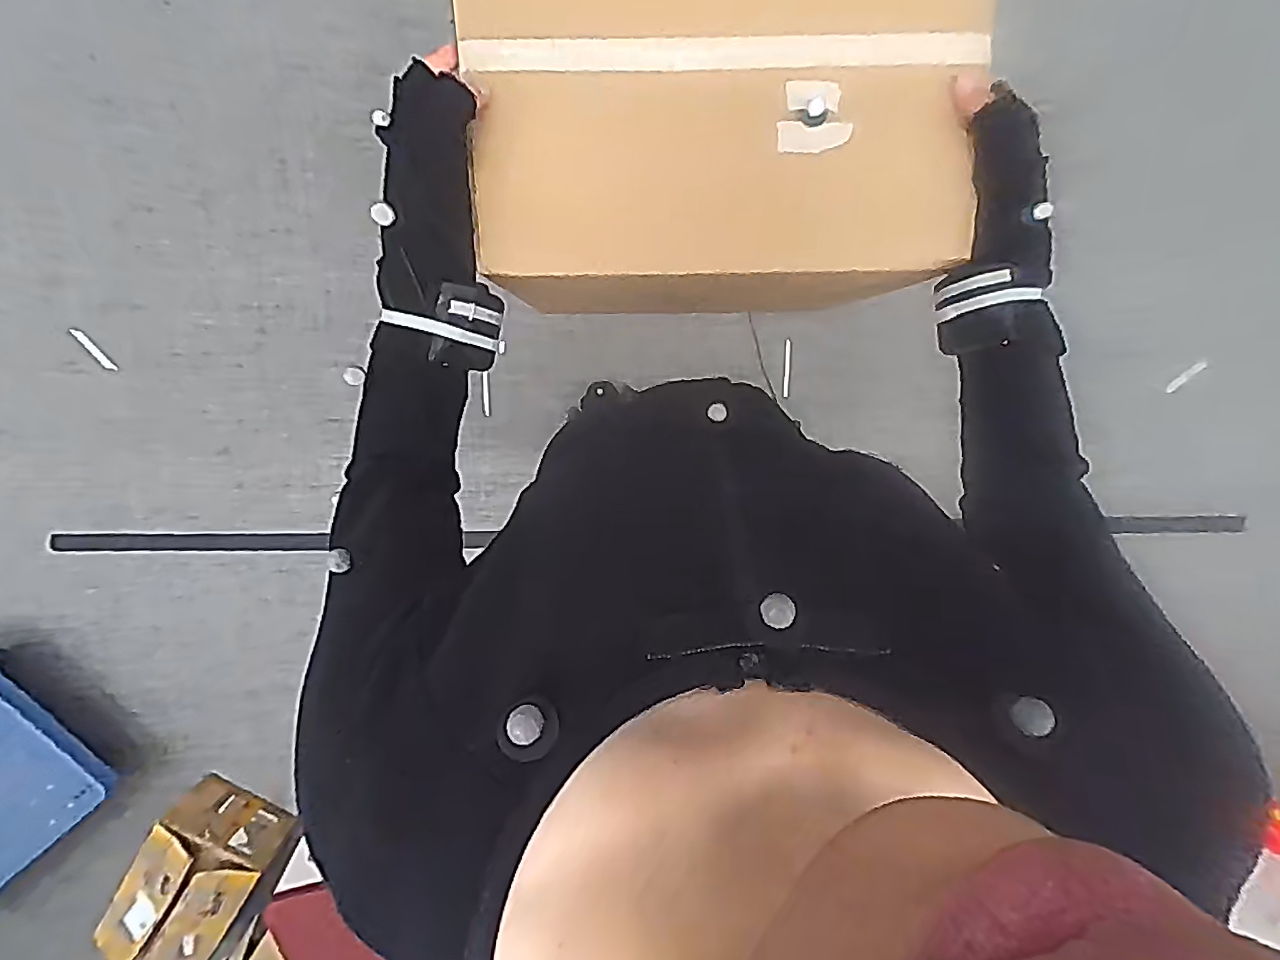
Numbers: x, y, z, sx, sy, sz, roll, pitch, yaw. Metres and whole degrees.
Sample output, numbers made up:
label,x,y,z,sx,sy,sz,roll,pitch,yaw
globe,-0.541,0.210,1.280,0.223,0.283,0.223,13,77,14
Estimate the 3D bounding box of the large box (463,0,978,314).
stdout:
label,x,y,z,sx,sy,sz,roll,pitch,yaw
large box,0.059,-0.358,0.569,0.408,0.320,0.320,-1,101,-1
